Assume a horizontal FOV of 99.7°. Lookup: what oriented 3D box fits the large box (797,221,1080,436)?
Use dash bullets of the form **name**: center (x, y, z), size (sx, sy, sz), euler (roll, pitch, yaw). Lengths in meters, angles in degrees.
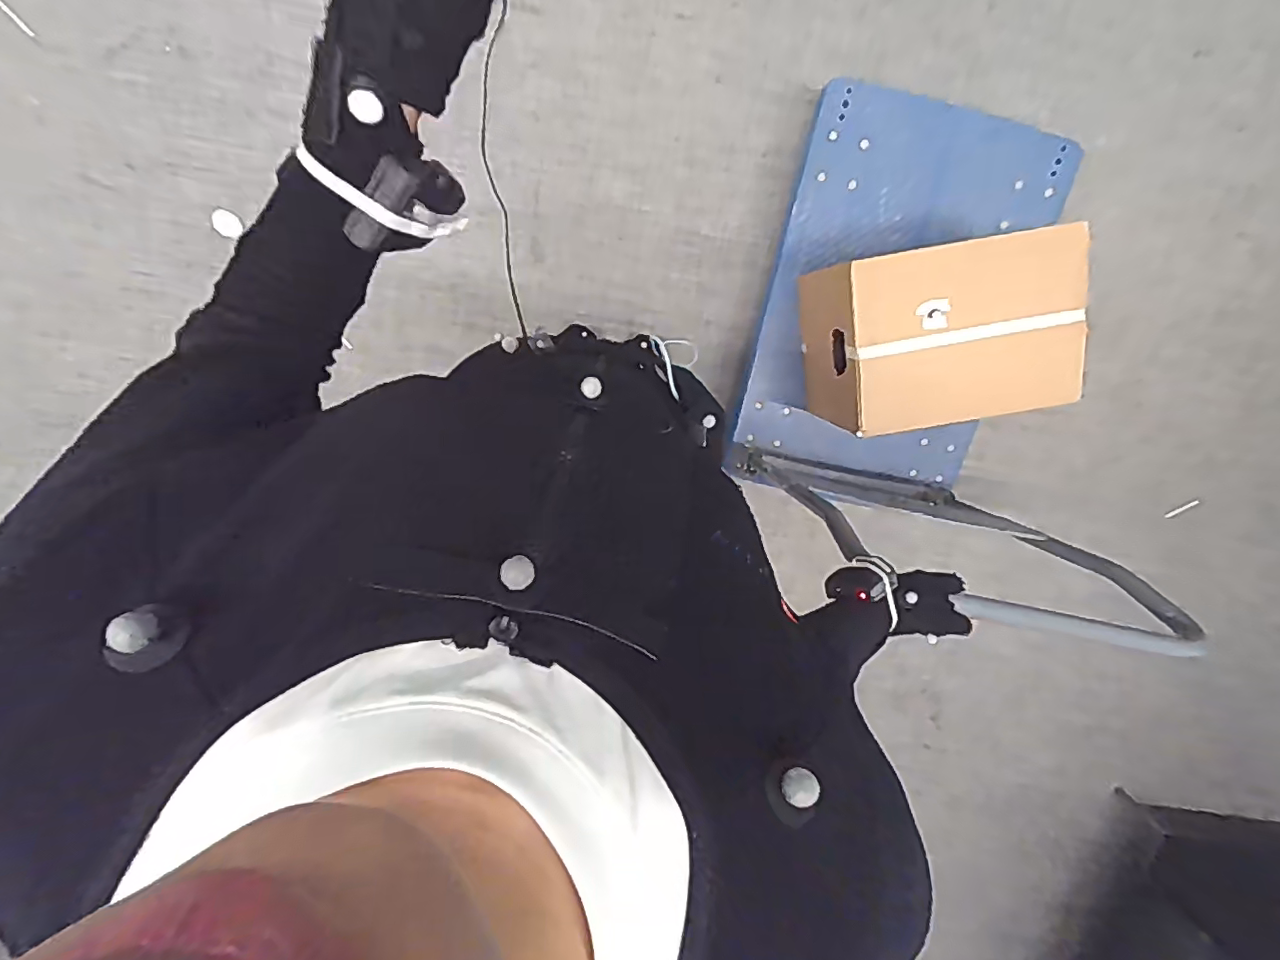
- **large box**: center (0.571, -0.302, 1.100), size (0.408, 0.320, 0.320), euler (-9, 105, 2)
